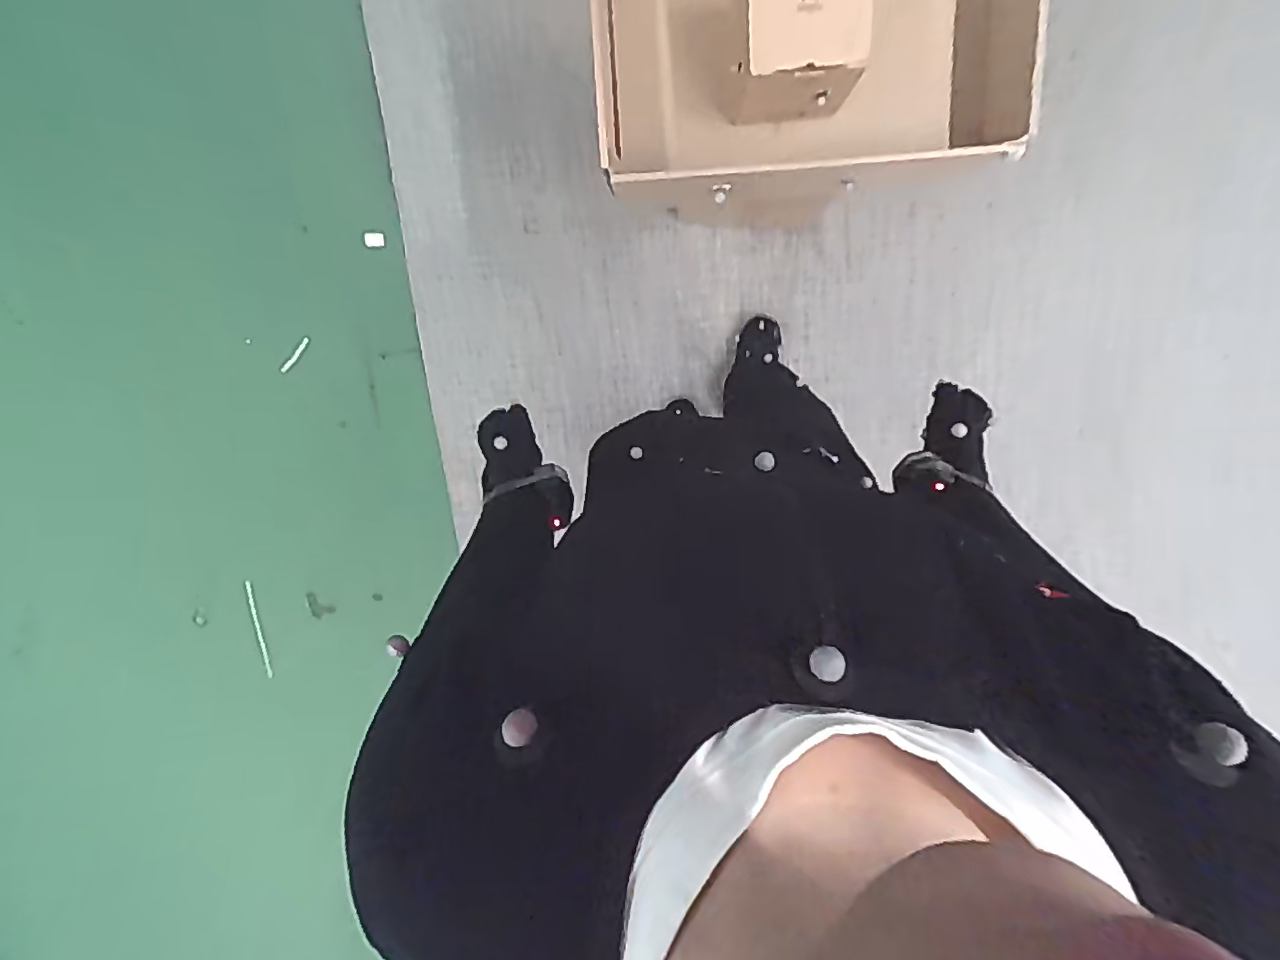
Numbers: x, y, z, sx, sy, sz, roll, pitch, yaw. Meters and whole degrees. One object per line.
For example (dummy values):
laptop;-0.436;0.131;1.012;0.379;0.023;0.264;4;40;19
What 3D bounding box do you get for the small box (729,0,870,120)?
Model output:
small box;0.225;-0.659;0.796;0.168;0.176;0.179;-4;101;2
